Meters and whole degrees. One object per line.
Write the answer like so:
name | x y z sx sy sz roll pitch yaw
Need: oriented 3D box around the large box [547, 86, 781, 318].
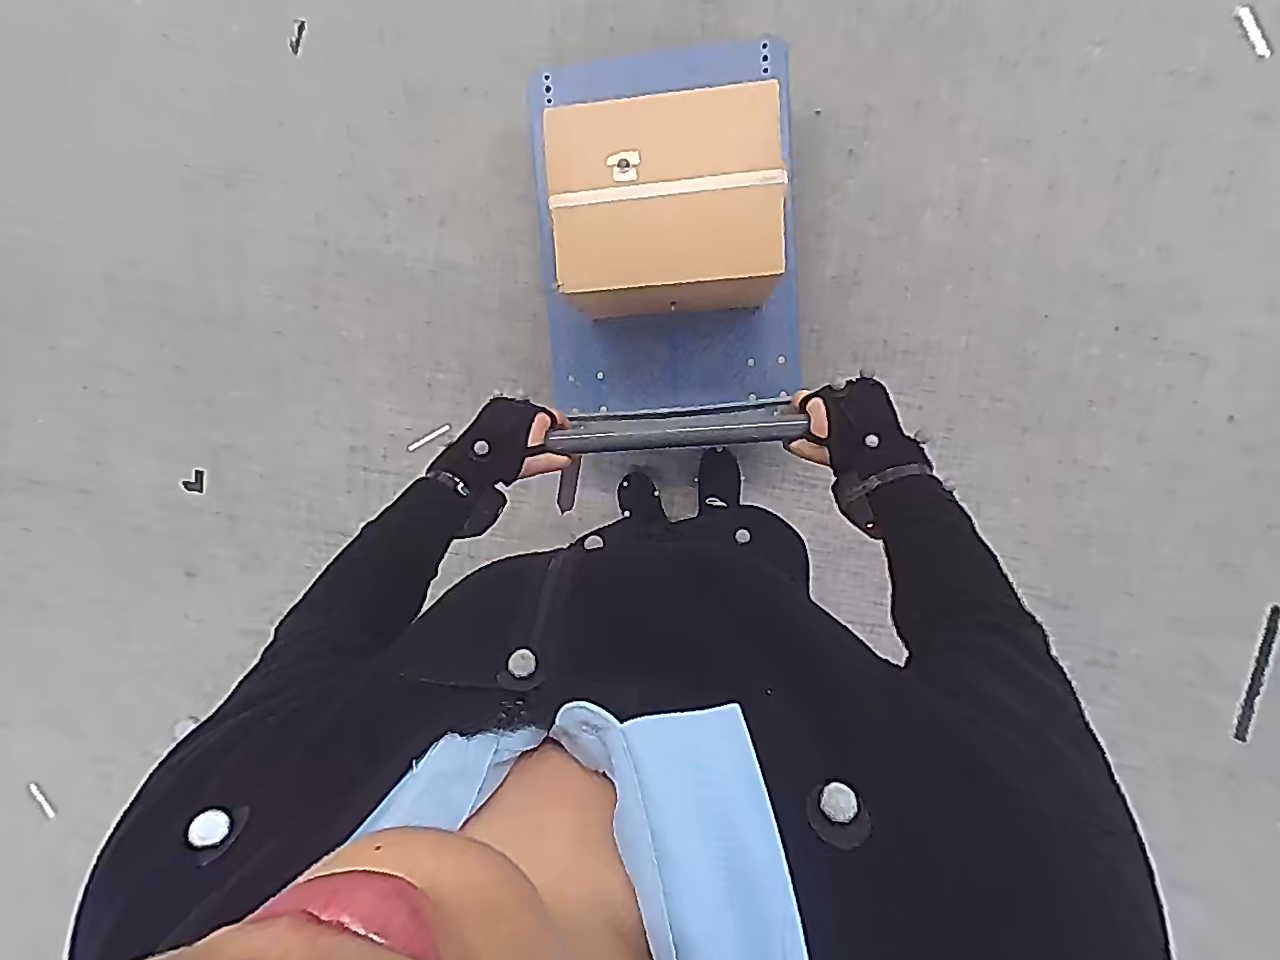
large box | 0.058 -0.526 1.104 0.408 0.320 0.320 -3 97 7
